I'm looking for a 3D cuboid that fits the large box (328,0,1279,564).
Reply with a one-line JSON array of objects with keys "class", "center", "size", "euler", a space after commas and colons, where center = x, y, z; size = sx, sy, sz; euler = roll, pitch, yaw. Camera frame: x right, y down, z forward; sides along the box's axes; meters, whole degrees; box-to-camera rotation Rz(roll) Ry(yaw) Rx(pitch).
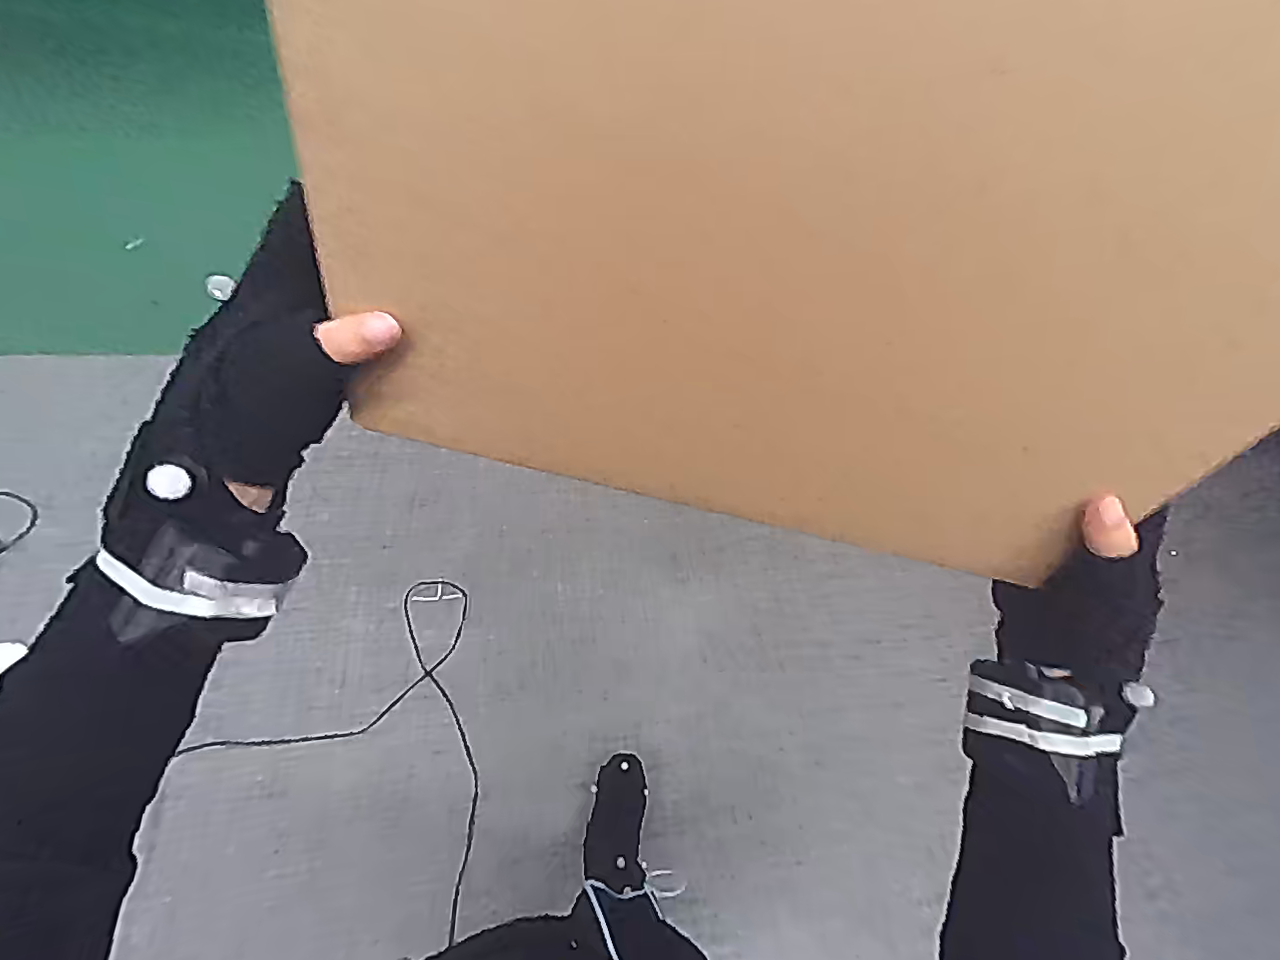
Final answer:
[{"class": "large box", "center": [0.098, -0.193, 0.308], "size": [0.408, 0.320, 0.320], "euler": [14, 46, -7]}]
